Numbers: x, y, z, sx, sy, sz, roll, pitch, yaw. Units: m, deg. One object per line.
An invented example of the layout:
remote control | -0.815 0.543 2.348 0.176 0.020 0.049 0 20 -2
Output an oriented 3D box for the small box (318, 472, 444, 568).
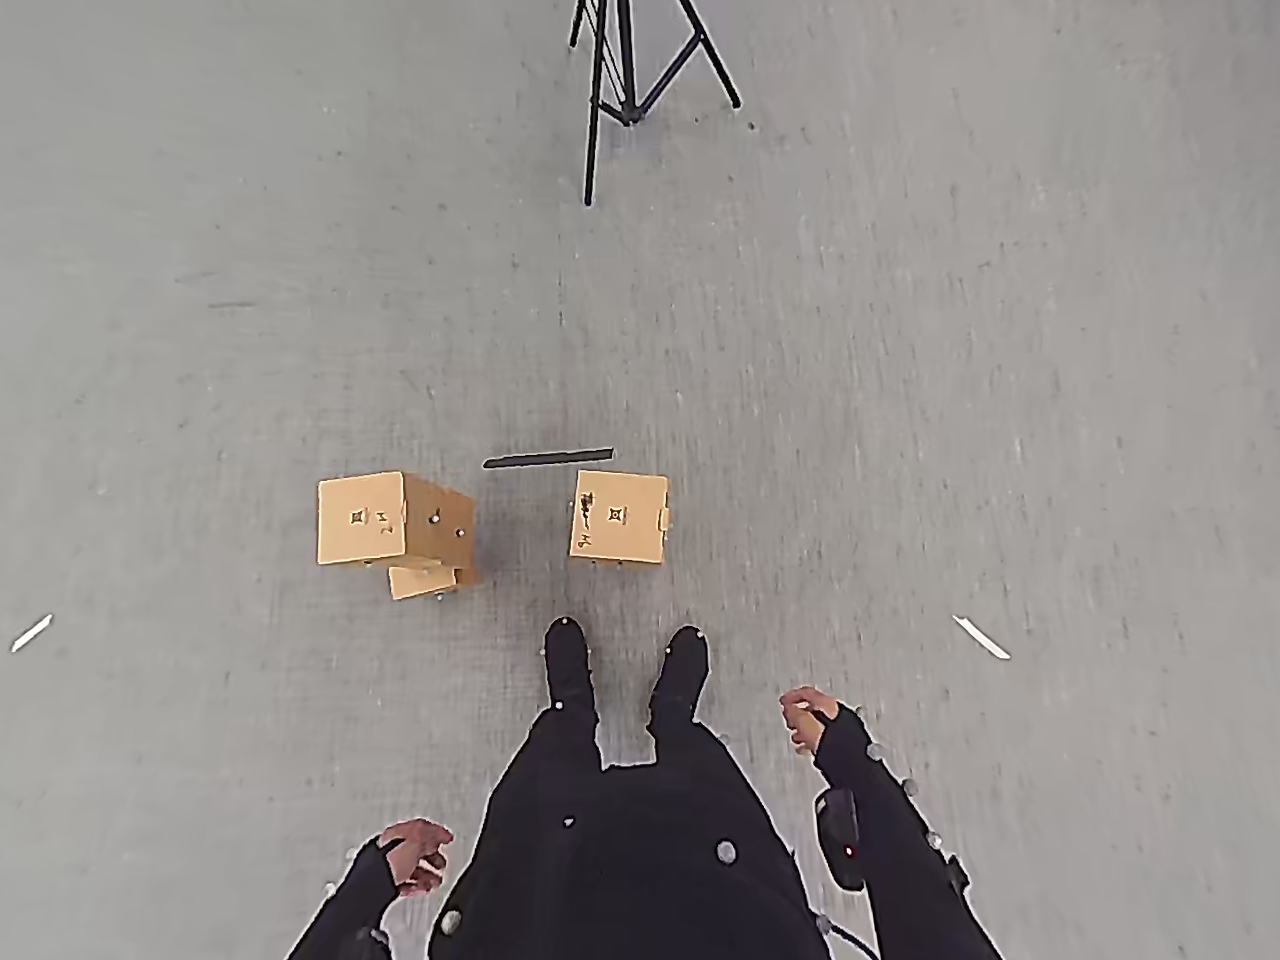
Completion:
small box | -0.524 0.088 1.112 0.179 0.176 0.168 -7 78 2

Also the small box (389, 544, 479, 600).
small box | -0.540 0.212 1.422 0.168 0.176 0.179 -14 79 1

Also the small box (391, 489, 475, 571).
small box | -0.499 0.120 1.272 0.168 0.176 0.179 0 79 4

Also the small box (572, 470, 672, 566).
small box | -0.032 0.083 1.086 0.179 0.176 0.168 5 79 2
